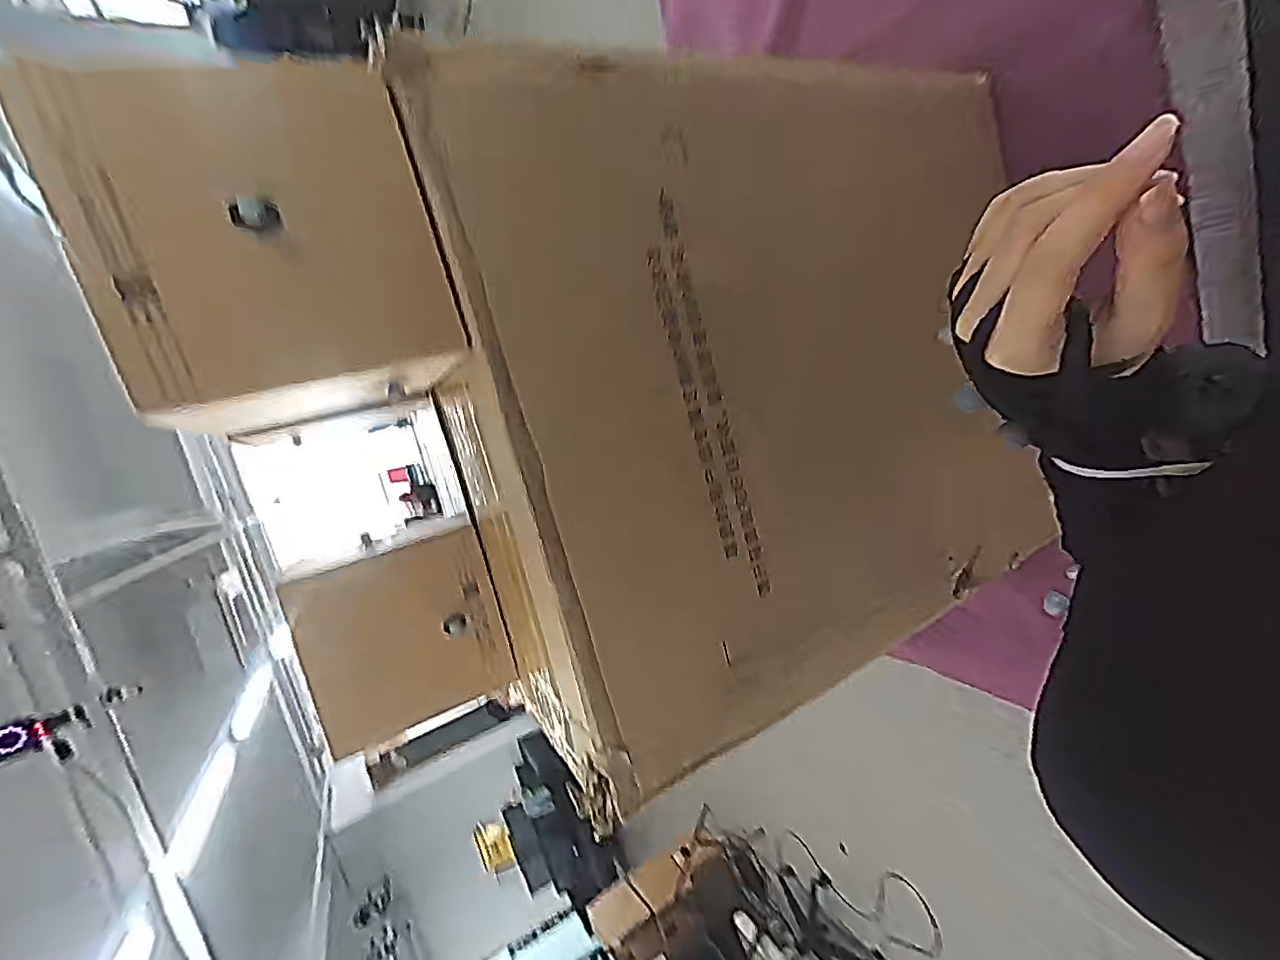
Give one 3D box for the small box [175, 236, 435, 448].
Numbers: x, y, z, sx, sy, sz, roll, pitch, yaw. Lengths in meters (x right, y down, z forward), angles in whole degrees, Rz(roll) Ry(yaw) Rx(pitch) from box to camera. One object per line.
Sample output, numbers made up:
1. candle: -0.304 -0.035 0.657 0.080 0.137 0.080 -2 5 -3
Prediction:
1. small box: -0.323 -0.133 0.558 0.179 0.176 0.168 3 110 63
